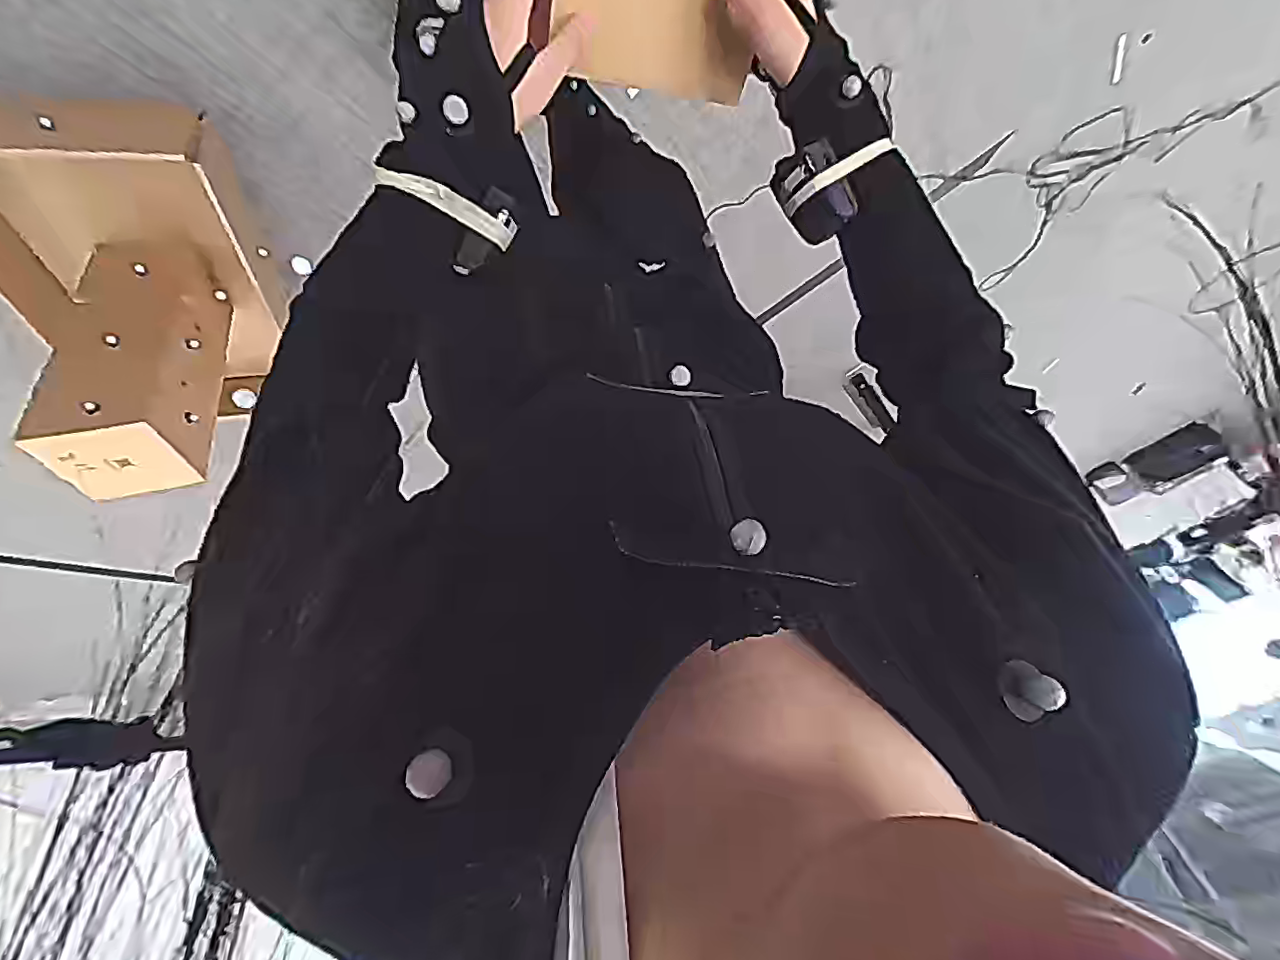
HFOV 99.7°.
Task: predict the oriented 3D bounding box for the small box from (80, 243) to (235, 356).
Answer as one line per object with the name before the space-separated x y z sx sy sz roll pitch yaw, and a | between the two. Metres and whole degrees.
small box | -0.969 -0.364 1.107 0.179 0.176 0.168 -10 148 -17

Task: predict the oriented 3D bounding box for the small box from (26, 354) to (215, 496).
small box | -0.876 -0.100 0.938 0.179 0.176 0.168 -12 147 -13

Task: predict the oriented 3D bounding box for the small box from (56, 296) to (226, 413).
small box | -0.925 -0.230 1.027 0.179 0.176 0.168 -11 147 -13

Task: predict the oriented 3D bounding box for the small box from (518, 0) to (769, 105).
small box | 0.001 -0.425 0.406 0.168 0.176 0.179 -6 144 -22
